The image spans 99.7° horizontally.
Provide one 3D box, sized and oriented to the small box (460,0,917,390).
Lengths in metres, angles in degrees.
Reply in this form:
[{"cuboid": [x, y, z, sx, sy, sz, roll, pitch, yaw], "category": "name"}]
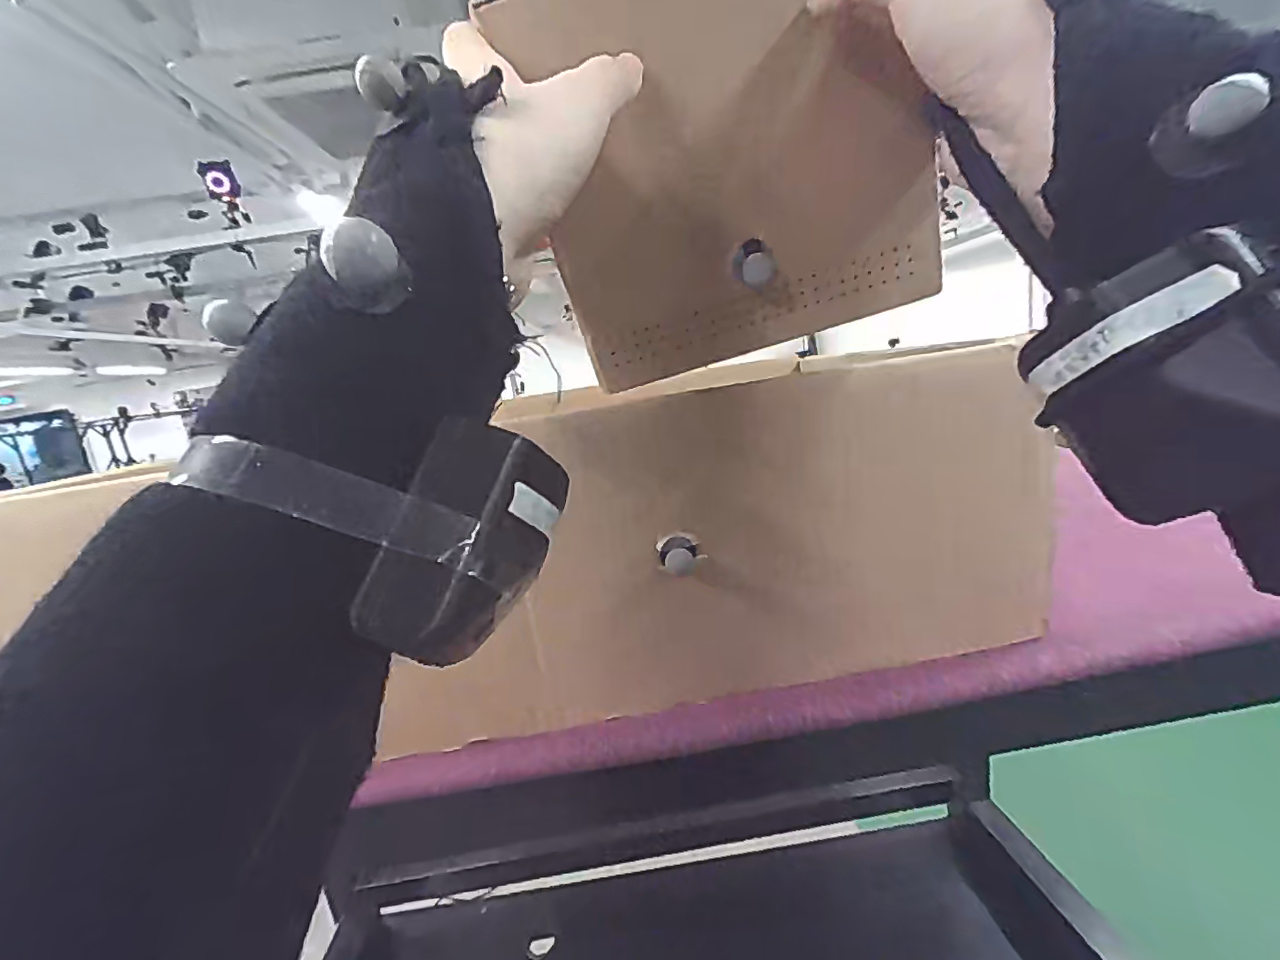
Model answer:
[{"cuboid": [0.035, -0.170, 0.303, 0.179, 0.176, 0.168, -16, 25, 7], "category": "small box"}]
